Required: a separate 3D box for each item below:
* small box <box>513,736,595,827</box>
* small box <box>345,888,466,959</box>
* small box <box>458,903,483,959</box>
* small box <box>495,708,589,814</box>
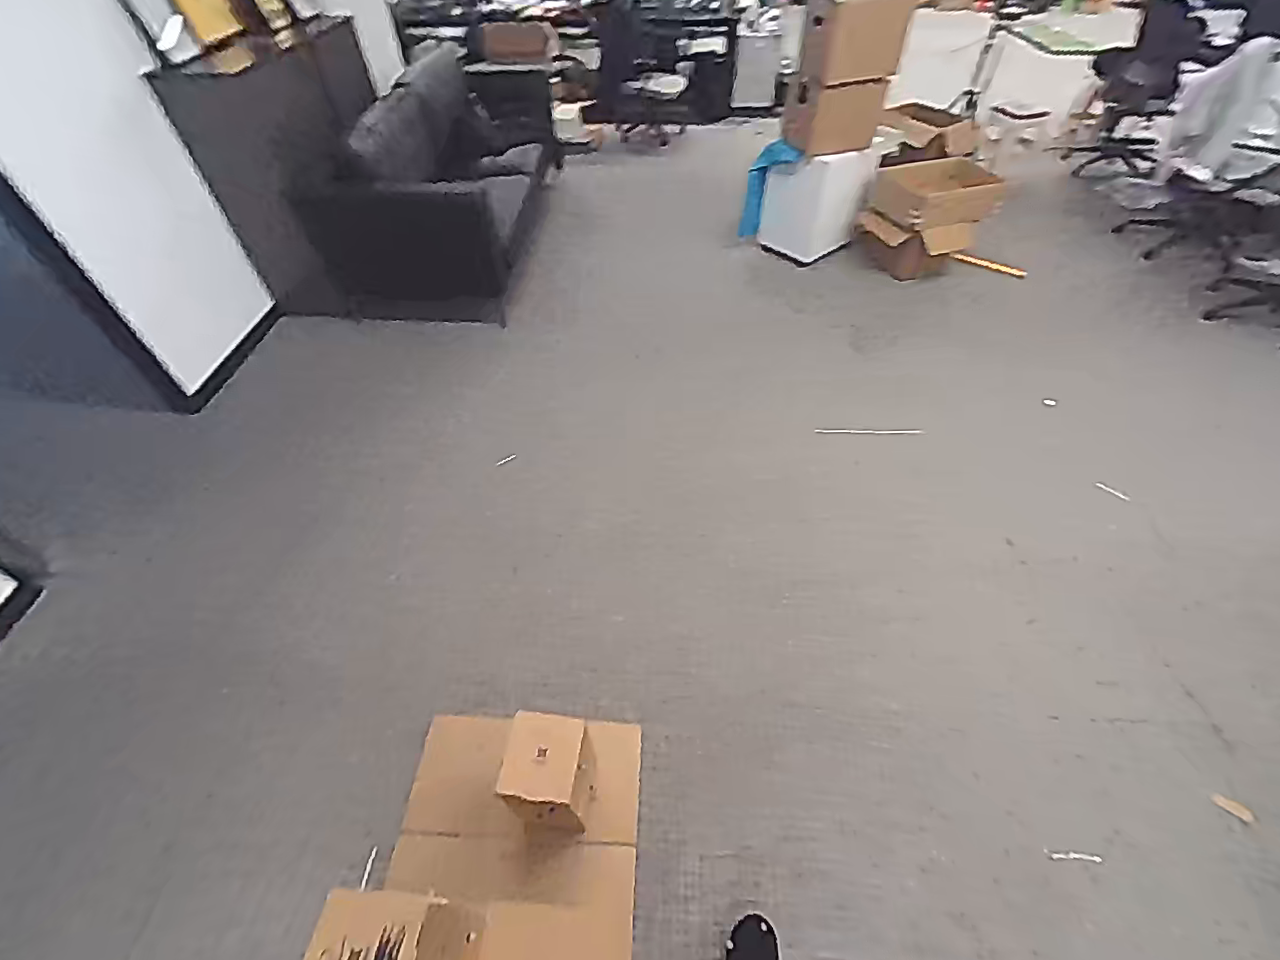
[{"bbox_3d":[-0.211,0.764,1.382,0.168,0.176,0.179,3,49,5],"label":"small box"},{"bbox_3d":[-0.450,0.910,1.042,0.168,0.176,0.179,3,50,3],"label":"small box"},{"bbox_3d":[-0.448,1.021,1.160,0.168,0.176,0.179,2,49,4],"label":"small box"},{"bbox_3d":[-0.217,0.658,1.257,0.168,0.176,0.179,6,50,6],"label":"small box"}]
